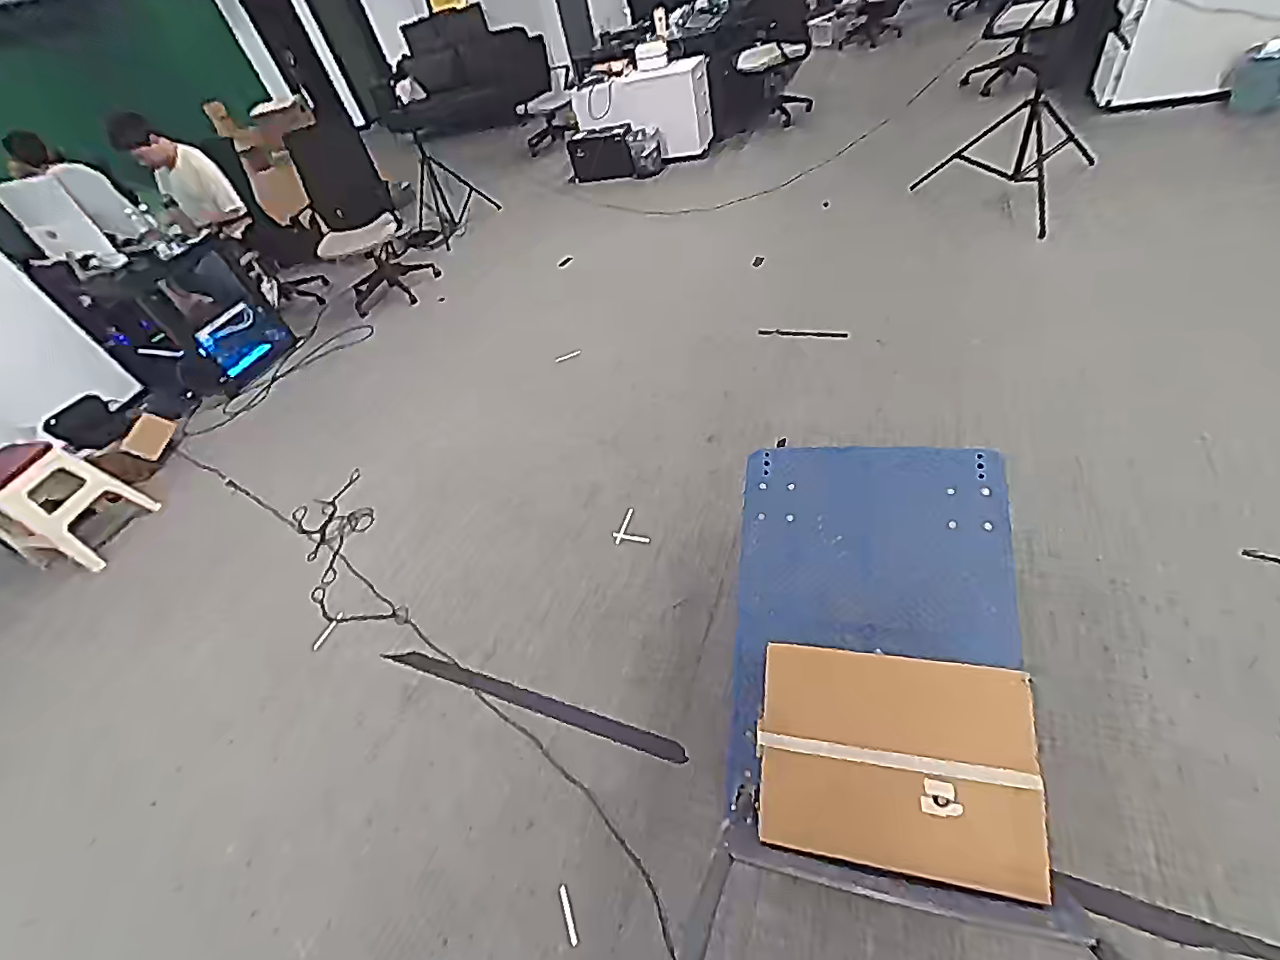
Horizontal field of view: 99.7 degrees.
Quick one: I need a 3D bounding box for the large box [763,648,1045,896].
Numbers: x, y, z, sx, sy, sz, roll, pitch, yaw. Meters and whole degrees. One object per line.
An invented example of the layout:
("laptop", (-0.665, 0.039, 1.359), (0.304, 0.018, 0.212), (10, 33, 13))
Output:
("large box", (0.446, 0.499, 1.009), (0.408, 0.320, 0.320), (1, 72, 17))
